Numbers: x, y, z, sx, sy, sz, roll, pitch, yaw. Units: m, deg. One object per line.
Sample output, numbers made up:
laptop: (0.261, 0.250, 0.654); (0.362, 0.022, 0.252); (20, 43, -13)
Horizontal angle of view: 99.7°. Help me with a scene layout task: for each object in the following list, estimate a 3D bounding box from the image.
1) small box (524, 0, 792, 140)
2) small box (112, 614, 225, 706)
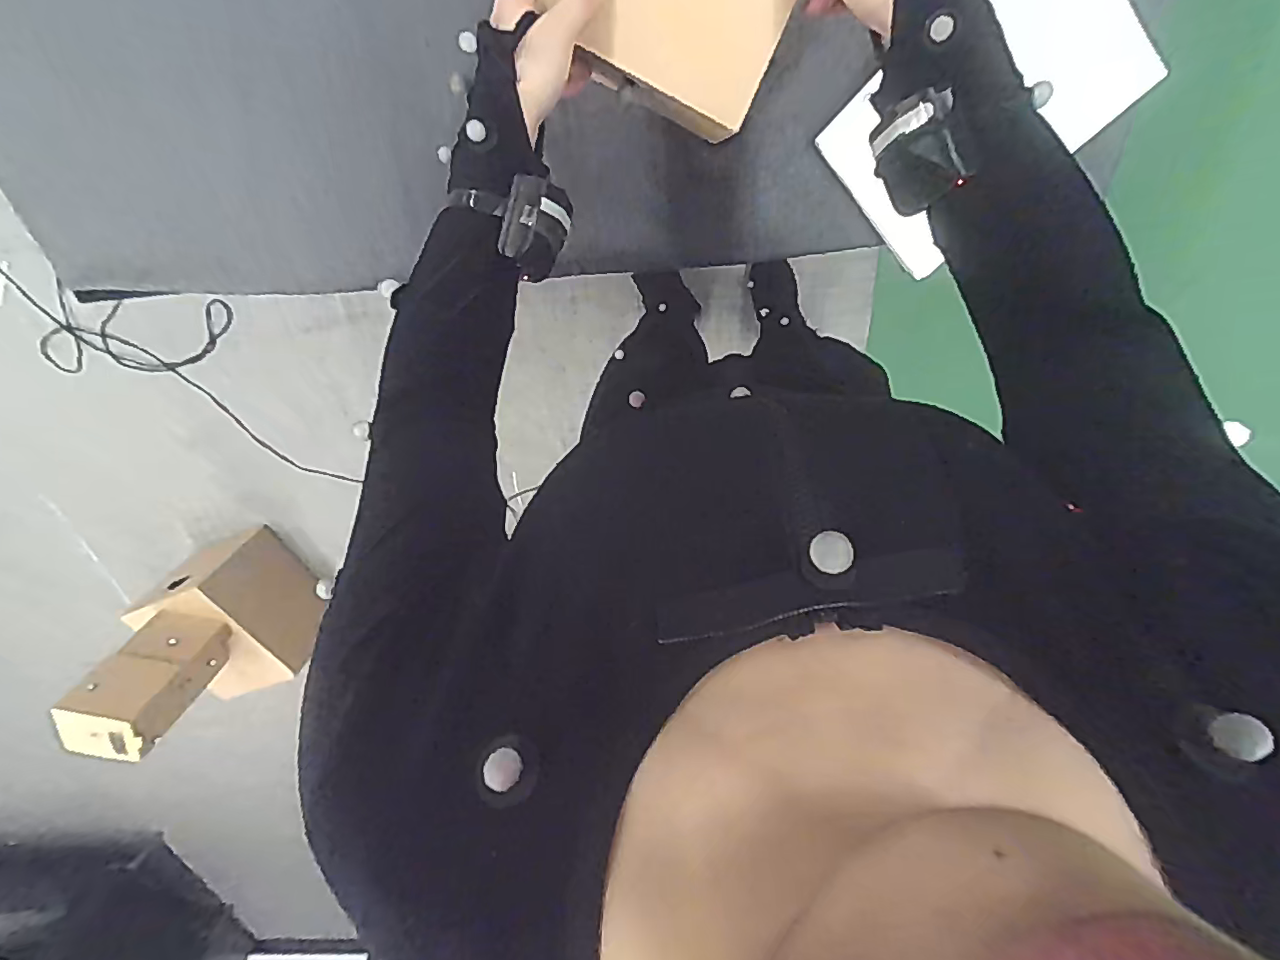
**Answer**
small box: (0.029, -0.406, 0.443); (0.179, 0.176, 0.168); (22, 119, -9)
small box: (-1.295, 0.497, 1.506); (0.179, 0.176, 0.168); (14, 119, -9)
